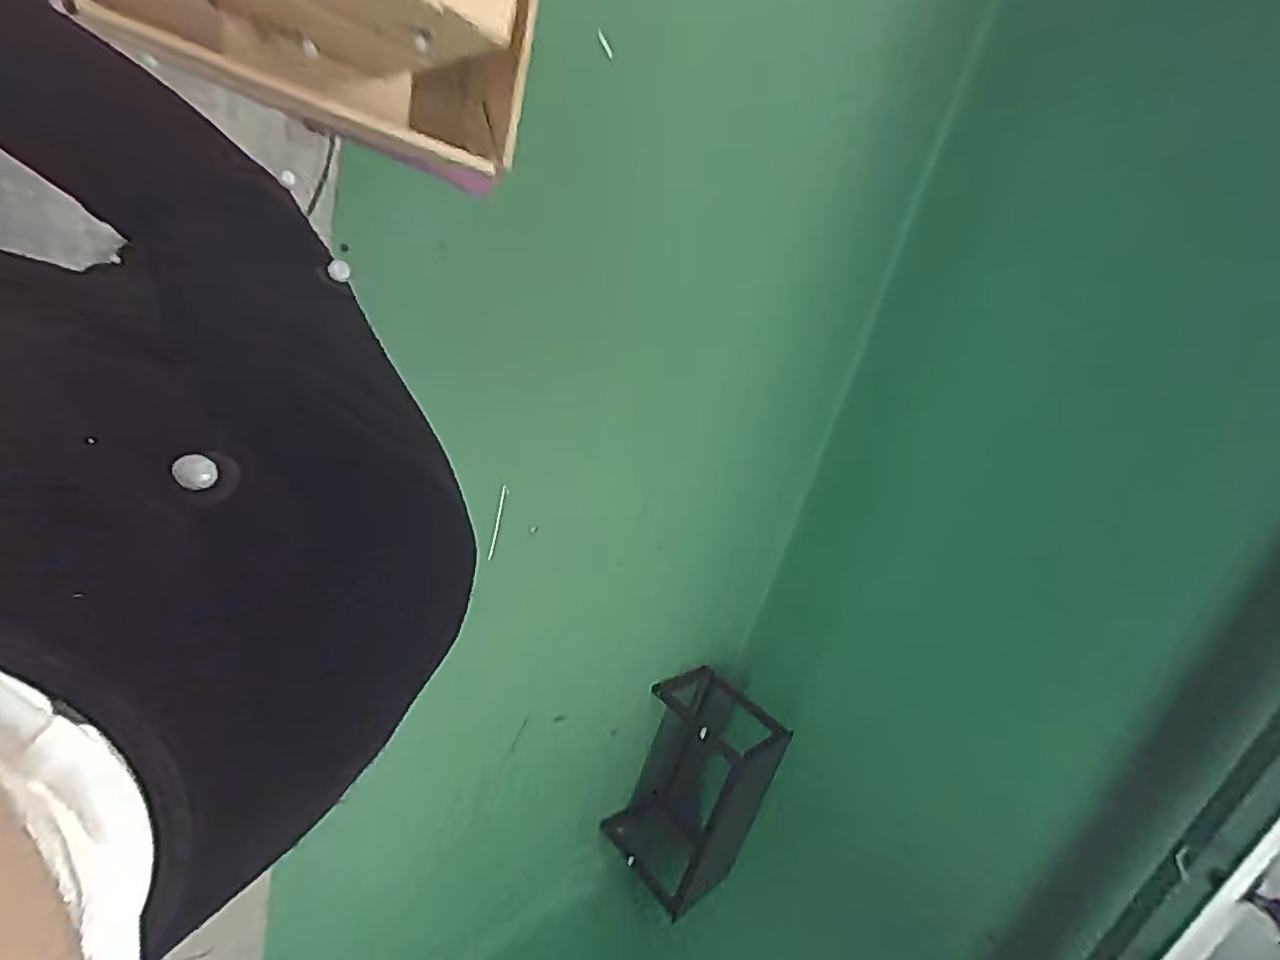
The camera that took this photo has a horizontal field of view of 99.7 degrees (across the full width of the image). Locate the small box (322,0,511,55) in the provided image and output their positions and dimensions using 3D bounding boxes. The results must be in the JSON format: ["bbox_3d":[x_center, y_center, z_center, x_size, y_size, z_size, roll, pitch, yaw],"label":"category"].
[{"bbox_3d":[-0.204,-0.481,0.431,0.168,0.176,0.179,-3,114,-45],"label":"small box"}]
